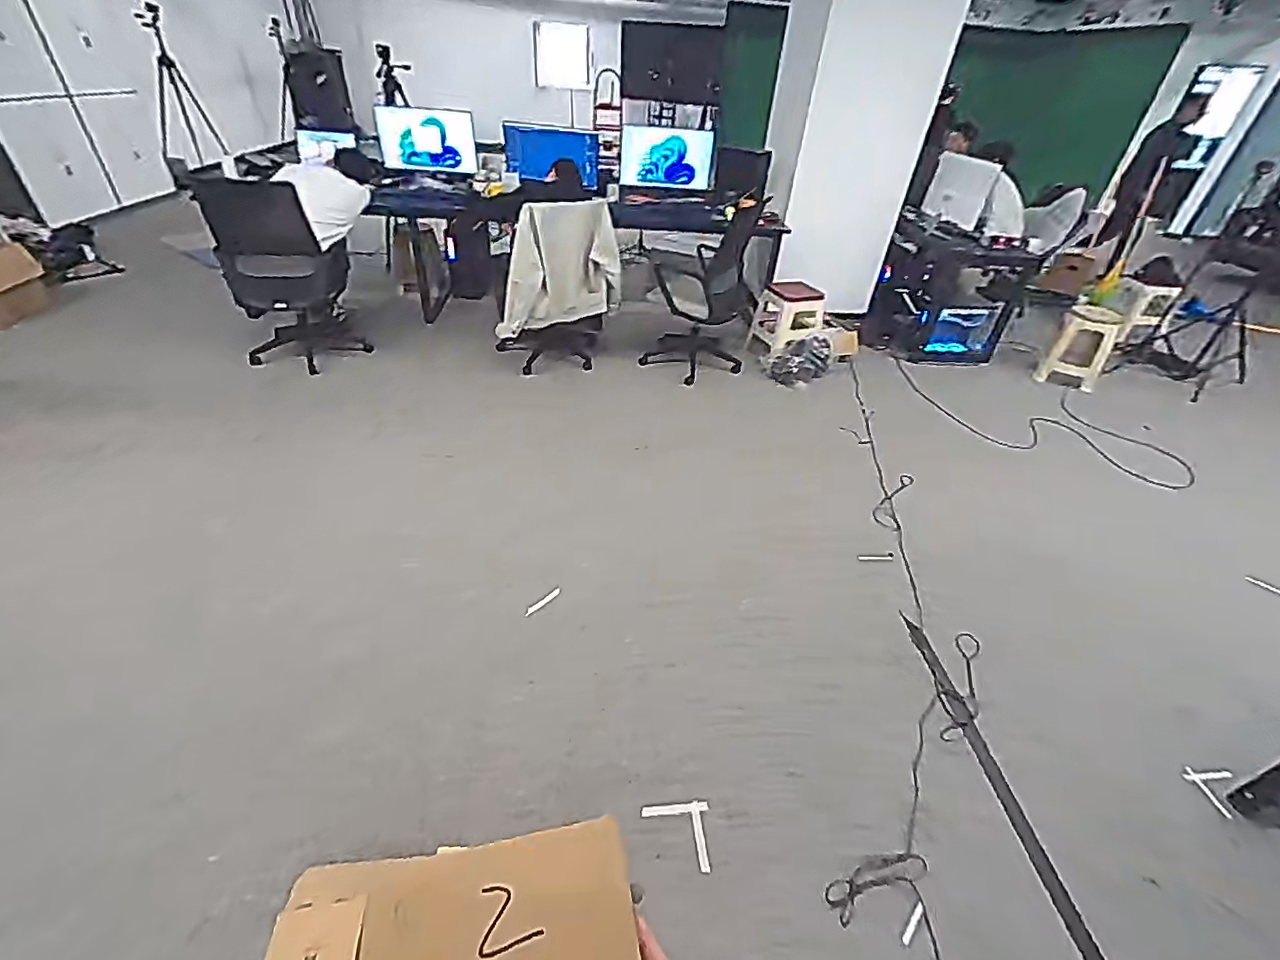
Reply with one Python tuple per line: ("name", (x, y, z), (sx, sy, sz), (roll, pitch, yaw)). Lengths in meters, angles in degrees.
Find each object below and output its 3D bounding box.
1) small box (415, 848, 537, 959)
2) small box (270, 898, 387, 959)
("small box", (-0.291, 0.809, 1.002), (0.179, 0.176, 0.168), (3, 38, -4))
("small box", (-0.606, 0.956, 1.048), (0.168, 0.176, 0.179), (-5, 38, -9))
